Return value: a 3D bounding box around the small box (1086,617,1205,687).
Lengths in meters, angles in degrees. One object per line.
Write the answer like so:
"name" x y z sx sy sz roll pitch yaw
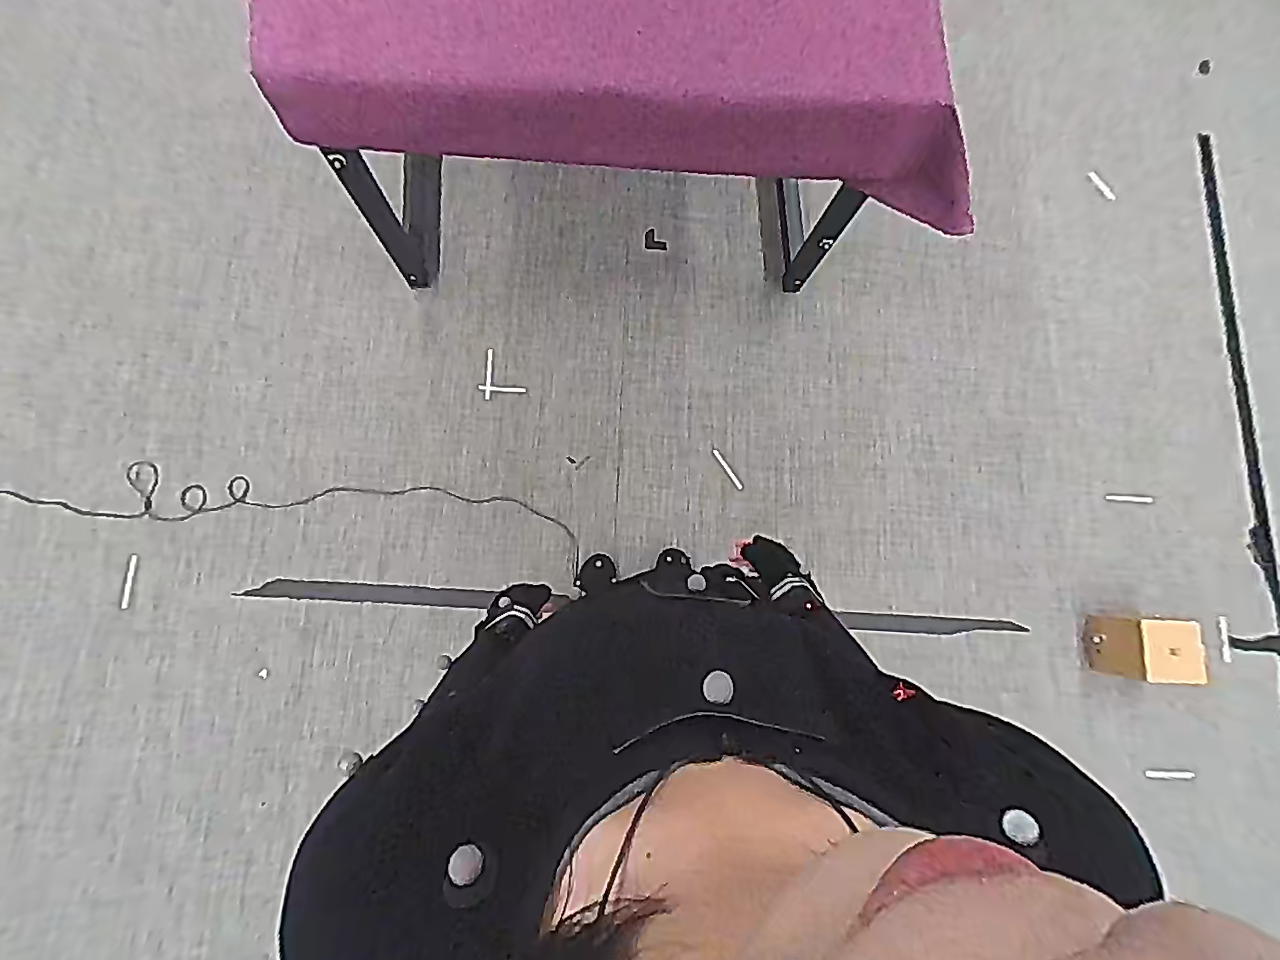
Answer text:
"small box" 1.418 0.479 1.526 0.179 0.176 0.168 3 80 -3
